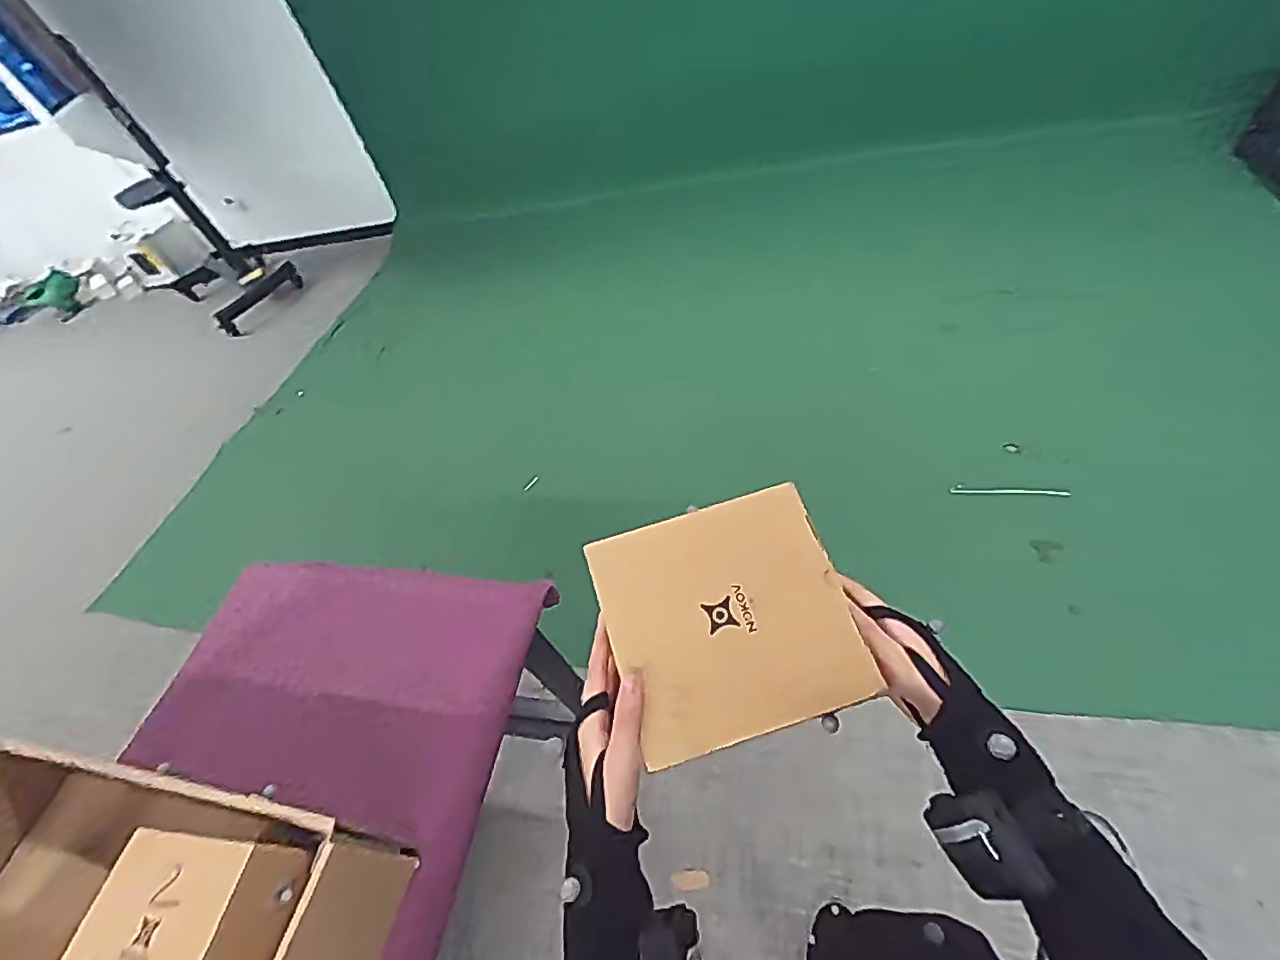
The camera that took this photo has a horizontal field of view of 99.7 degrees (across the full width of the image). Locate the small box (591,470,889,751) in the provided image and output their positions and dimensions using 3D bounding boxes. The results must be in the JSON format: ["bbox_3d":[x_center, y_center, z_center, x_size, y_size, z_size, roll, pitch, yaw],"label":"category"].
[{"bbox_3d":[0.070,0.118,0.464,0.179,0.176,0.168,-16,67,-5],"label":"small box"}]
